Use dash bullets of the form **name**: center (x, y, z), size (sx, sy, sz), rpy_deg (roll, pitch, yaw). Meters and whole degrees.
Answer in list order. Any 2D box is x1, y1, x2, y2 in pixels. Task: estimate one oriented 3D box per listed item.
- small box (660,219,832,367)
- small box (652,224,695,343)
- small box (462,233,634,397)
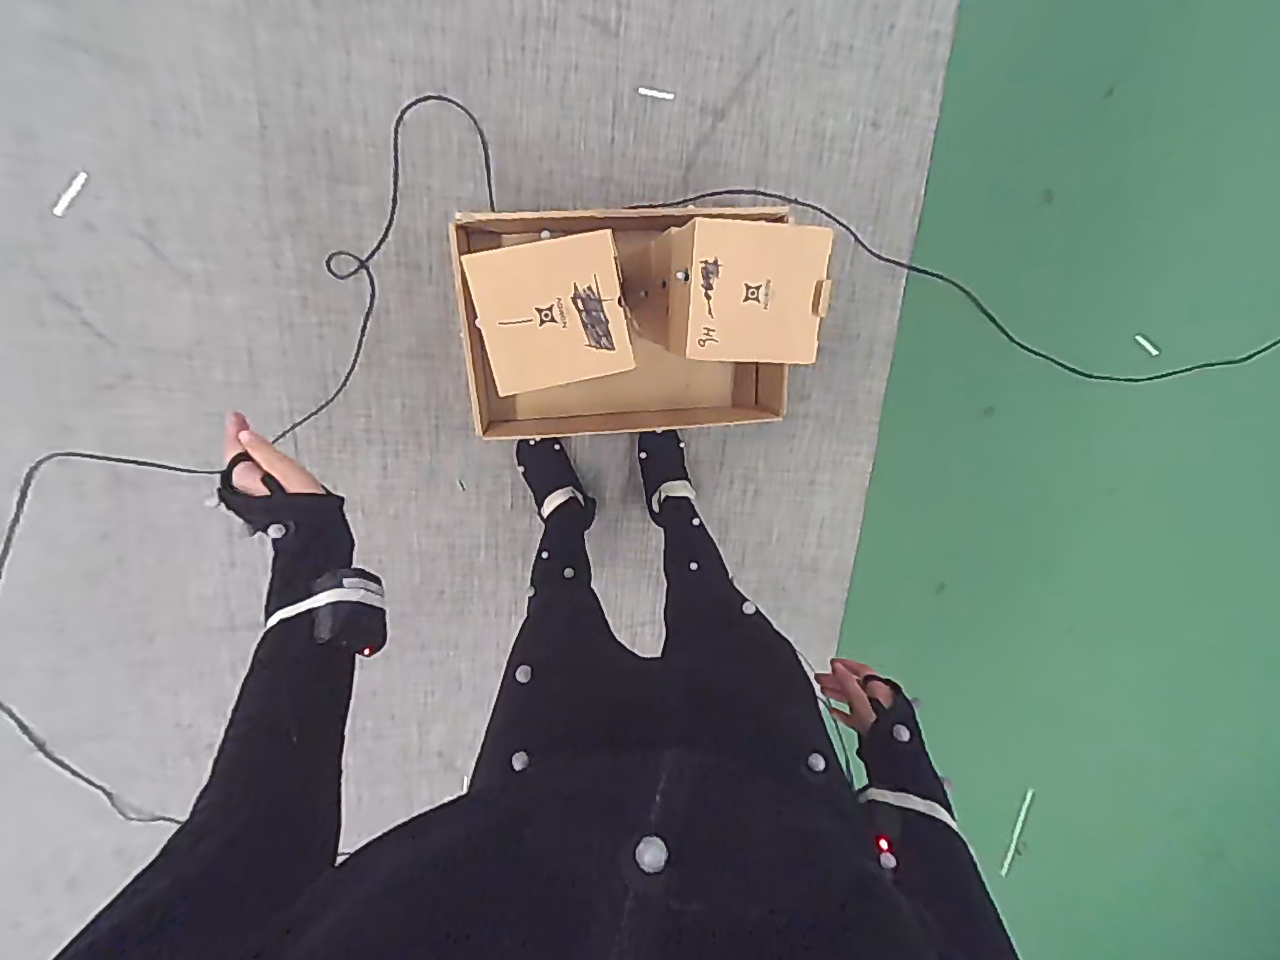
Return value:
- **small box**: center (0.133, -0.251, 0.741), size (0.179, 0.176, 0.168), rpy_deg (1, 107, -8)
- **small box**: center (0.113, -0.313, 0.894), size (0.168, 0.176, 0.179), rpy_deg (-2, 108, -7)
- **small box**: center (-0.118, -0.220, 0.718), size (0.179, 0.176, 0.168), rpy_deg (-13, 110, -5)
